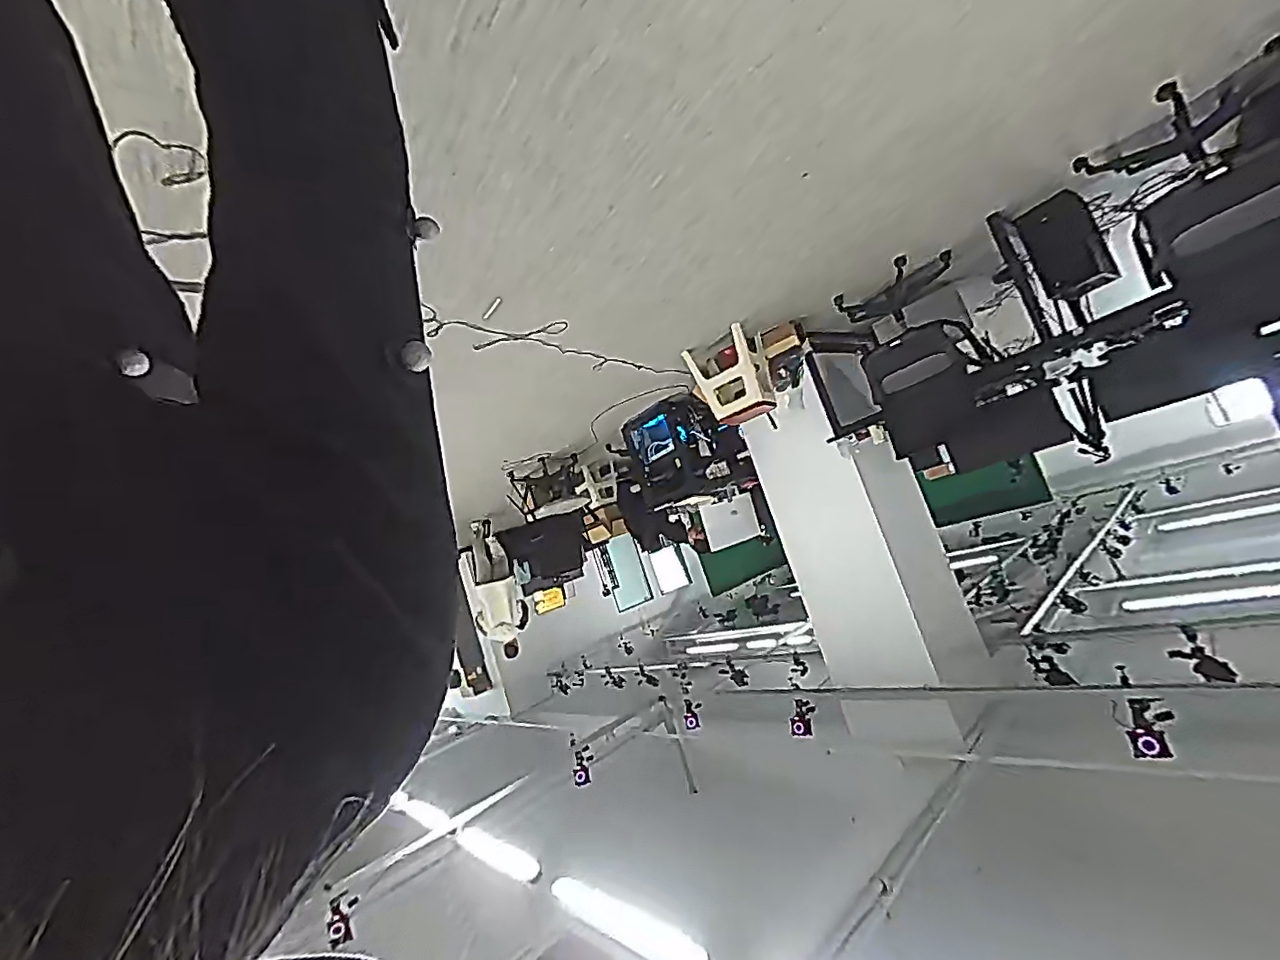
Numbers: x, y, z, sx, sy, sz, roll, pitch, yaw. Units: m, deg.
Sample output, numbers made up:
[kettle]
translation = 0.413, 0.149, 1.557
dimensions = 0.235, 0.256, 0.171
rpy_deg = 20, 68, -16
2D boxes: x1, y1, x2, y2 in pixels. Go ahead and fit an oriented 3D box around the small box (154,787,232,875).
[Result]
[small box]
translation = -1.477, 1.153, 1.792
dimensions = 0.168, 0.176, 0.179
rpy_deg = -12, 171, -35
